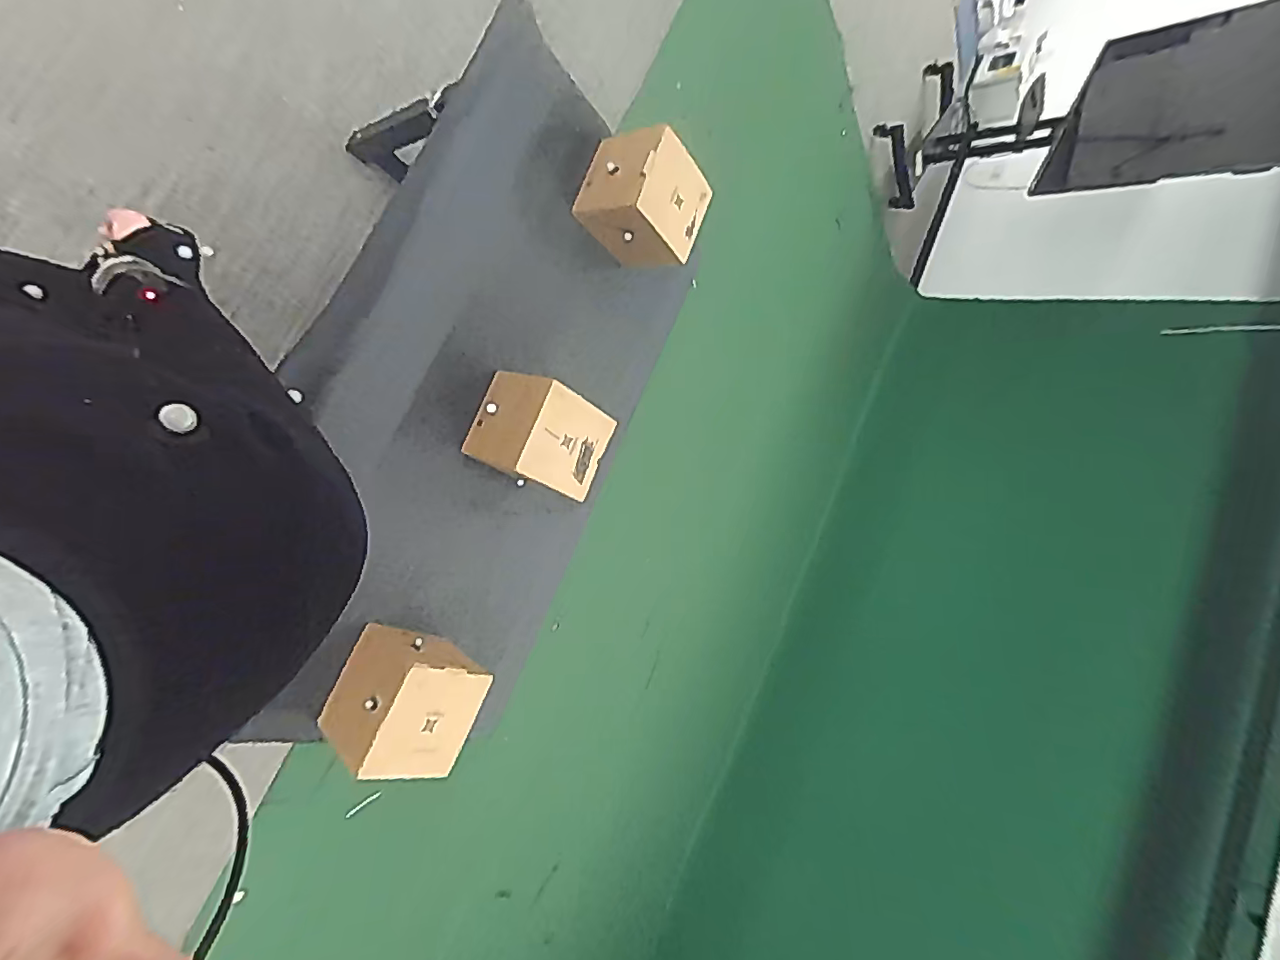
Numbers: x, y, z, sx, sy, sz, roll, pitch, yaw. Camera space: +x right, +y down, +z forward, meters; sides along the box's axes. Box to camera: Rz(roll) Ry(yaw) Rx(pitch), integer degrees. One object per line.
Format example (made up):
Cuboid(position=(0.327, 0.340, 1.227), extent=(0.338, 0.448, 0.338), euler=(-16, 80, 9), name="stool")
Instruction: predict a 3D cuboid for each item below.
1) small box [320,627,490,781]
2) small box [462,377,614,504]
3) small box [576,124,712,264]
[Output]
Cuboid(position=(-0.390, 0.364, 0.893), extent=(0.168, 0.176, 0.179), euler=(35, 77, -48), name="small box")
Cuboid(position=(-0.184, -0.076, 0.982), extent=(0.179, 0.176, 0.168), euler=(31, 79, -49), name="small box")
Cuboid(position=(0.006, -0.534, 1.044), extent=(0.179, 0.176, 0.168), euler=(28, 82, -50), name="small box")
